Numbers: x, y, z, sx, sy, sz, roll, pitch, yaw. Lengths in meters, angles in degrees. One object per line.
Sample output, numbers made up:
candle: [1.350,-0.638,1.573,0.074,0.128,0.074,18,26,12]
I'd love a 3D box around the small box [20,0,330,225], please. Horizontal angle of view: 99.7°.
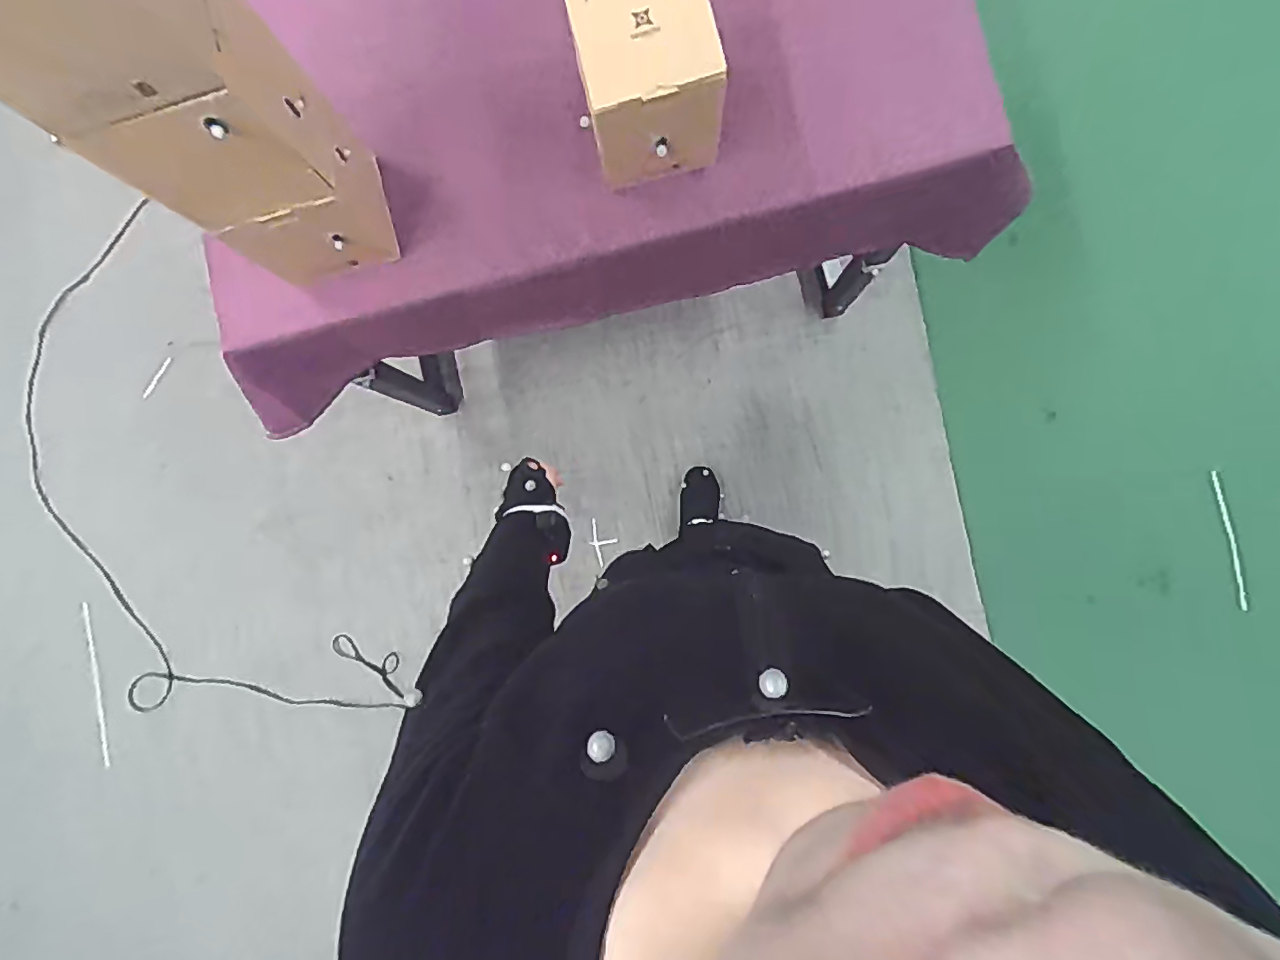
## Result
small box: [-0.478,-0.407,0.581,0.179,0.176,0.168,-17,87,0]

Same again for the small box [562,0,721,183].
small box: [0.005,-0.531,0.725,0.168,0.176,0.179,-13,87,2]

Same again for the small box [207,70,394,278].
small box: [-0.466,-0.399,0.743,0.168,0.176,0.179,-15,86,1]
